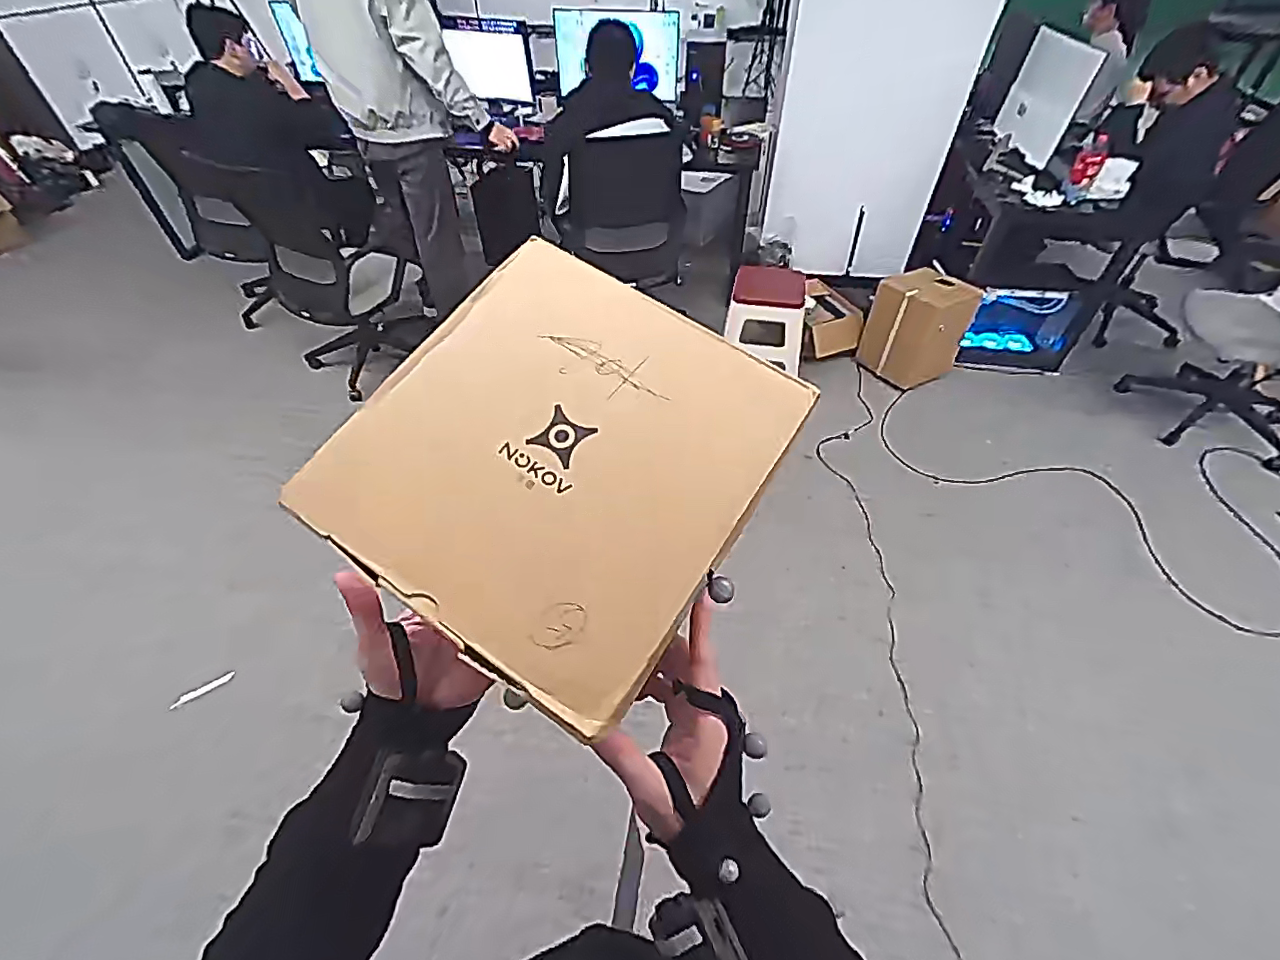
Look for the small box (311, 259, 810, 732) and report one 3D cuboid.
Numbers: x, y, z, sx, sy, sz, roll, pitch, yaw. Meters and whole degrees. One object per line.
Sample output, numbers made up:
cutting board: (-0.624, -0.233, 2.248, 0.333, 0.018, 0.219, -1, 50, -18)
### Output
small box: (-0.031, 0.019, 0.319, 0.168, 0.176, 0.179, 32, 70, 11)
